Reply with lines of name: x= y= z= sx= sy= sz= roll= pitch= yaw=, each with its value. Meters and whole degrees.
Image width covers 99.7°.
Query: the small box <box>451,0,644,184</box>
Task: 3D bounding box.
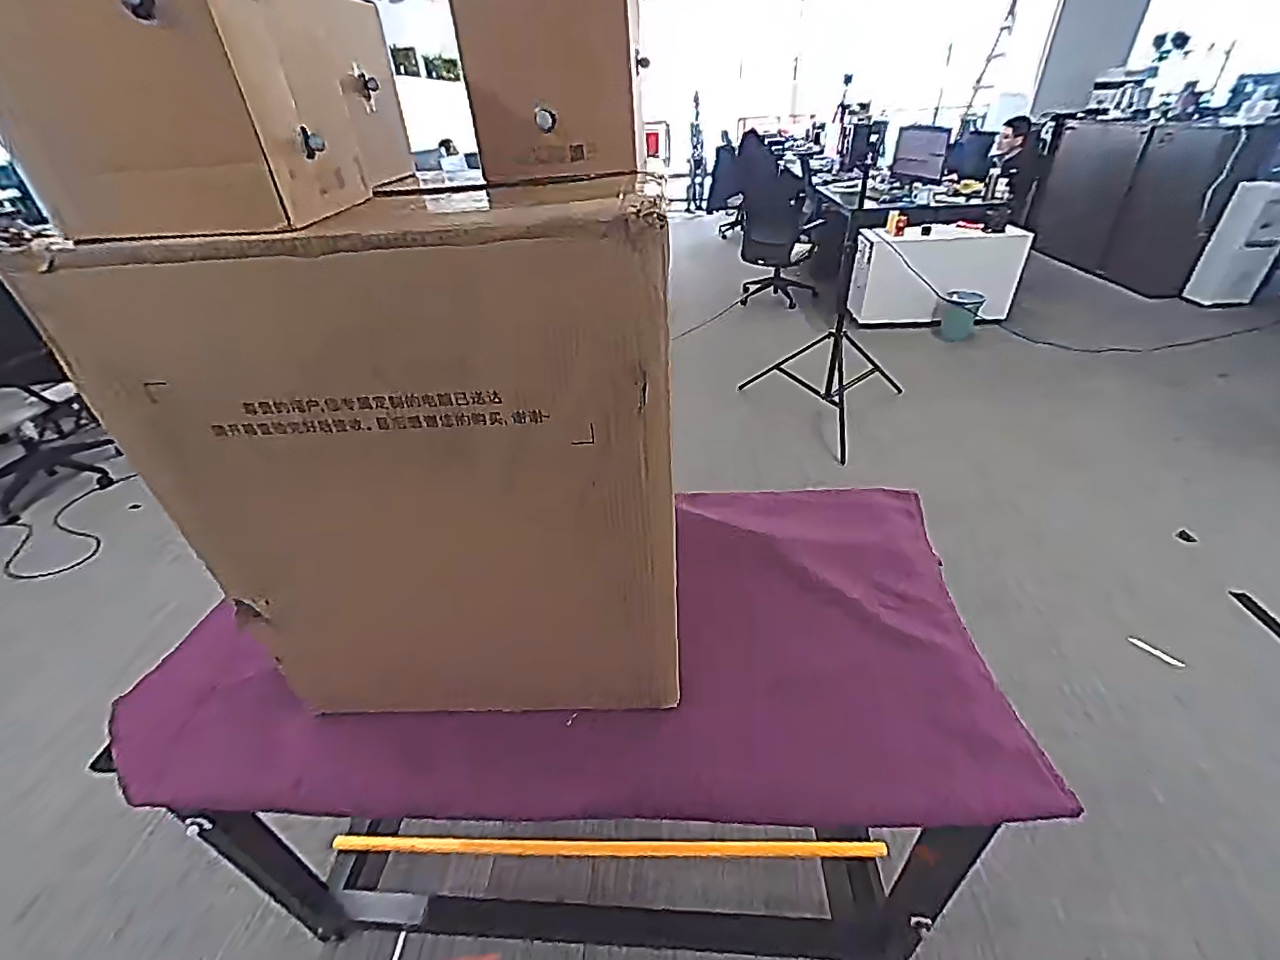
small box: x=-0.085 y=-0.428 z=0.591 sx=0.168 sy=0.176 sz=0.179 roll=-1 pitch=35 yaw=5
